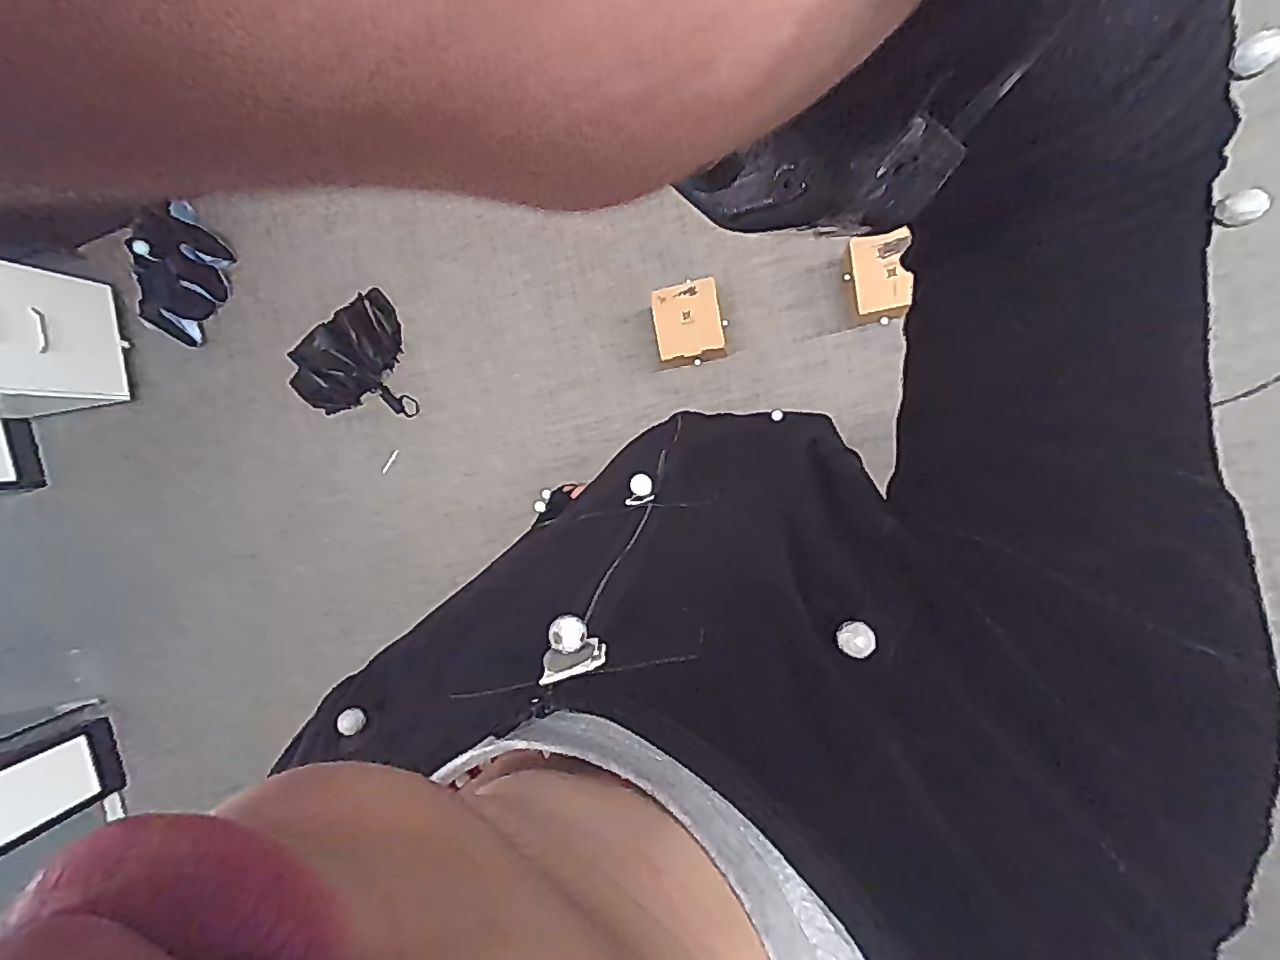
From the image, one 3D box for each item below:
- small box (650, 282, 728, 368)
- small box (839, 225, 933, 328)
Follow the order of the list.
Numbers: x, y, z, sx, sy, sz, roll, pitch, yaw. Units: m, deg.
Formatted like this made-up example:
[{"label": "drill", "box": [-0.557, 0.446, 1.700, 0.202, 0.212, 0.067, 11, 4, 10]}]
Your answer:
[{"label": "small box", "box": [0.135, -0.400, 1.430, 0.168, 0.176, 0.179, -10, 92, 14]}, {"label": "small box", "box": [0.591, -0.487, 1.318, 0.168, 0.176, 0.179, -9, 94, 14]}]
